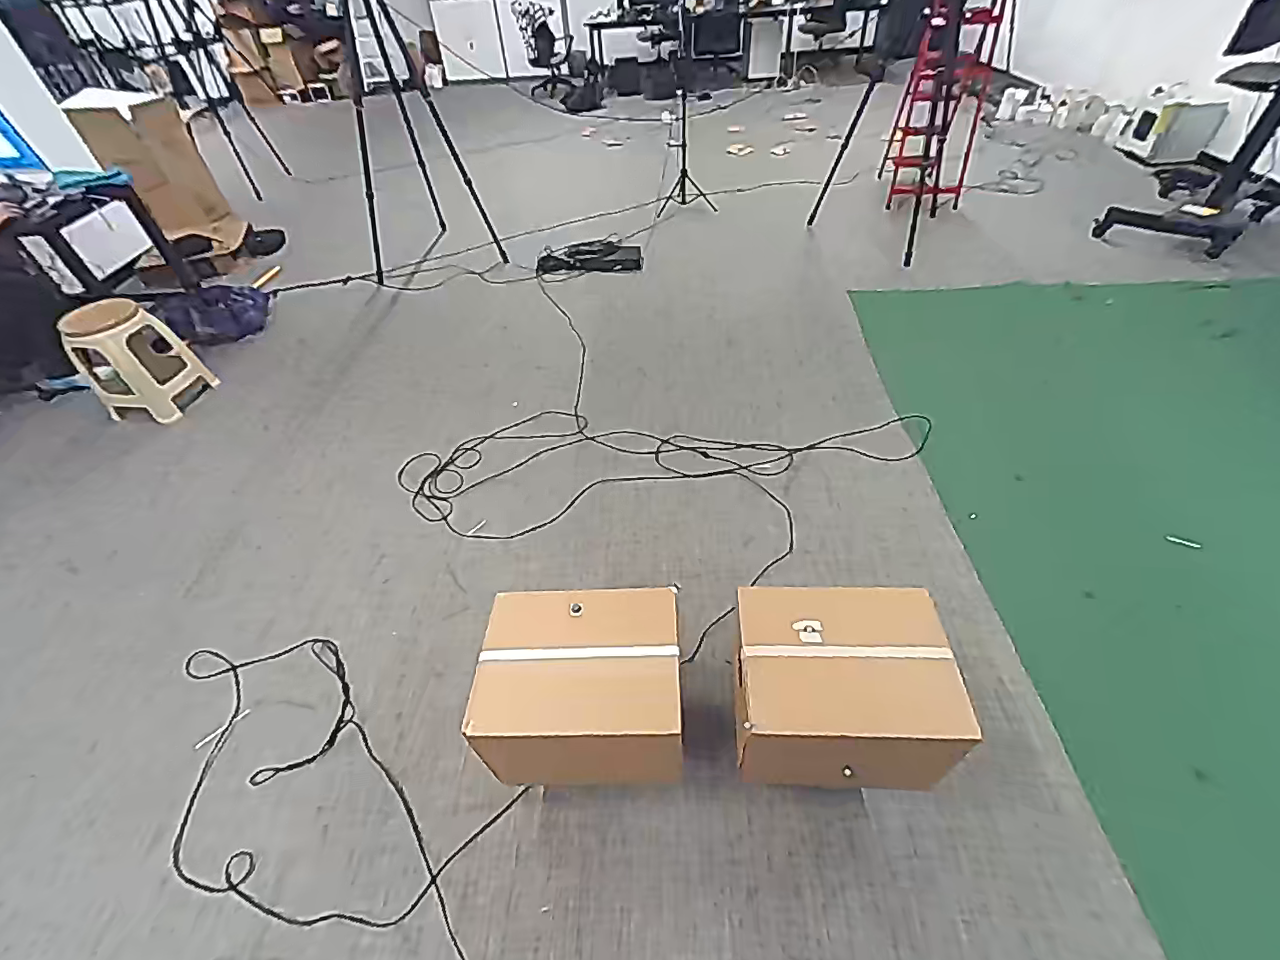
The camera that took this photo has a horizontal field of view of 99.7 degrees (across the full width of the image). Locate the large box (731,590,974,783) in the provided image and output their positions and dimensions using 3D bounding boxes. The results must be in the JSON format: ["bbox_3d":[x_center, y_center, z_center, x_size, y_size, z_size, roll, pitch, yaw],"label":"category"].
[{"bbox_3d":[0.418,0.455,1.186,0.408,0.320,0.320,-1,46,5],"label":"large box"}]
